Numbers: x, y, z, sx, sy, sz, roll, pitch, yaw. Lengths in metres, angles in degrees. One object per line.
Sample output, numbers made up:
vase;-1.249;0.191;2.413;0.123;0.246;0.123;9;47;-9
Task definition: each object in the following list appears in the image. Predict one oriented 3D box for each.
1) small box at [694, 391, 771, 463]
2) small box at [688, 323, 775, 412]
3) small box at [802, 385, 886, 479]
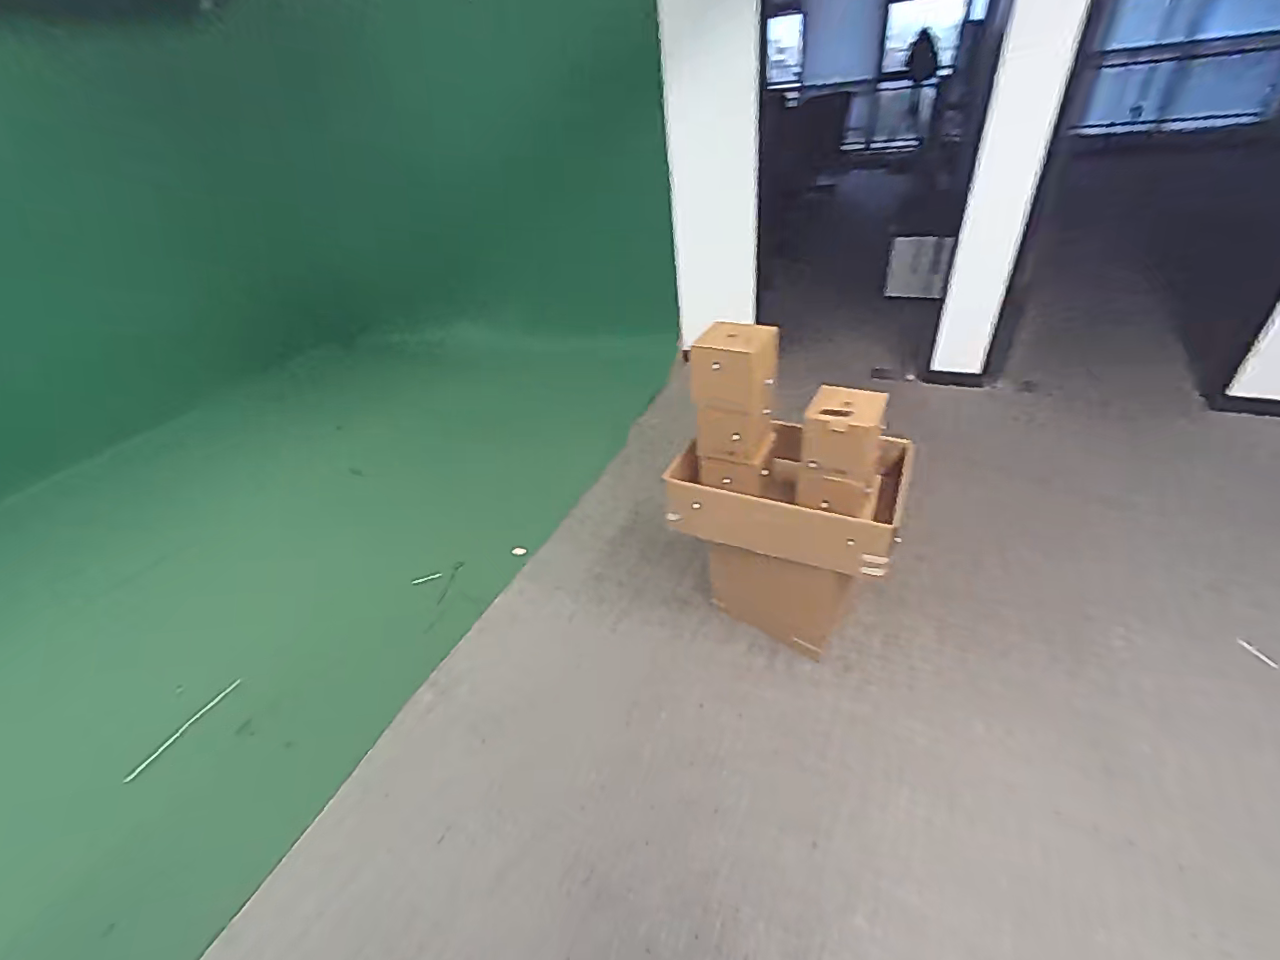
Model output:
small box;0.266;-0.168;1.516;0.168;0.176;0.179;12;41;25
small box;0.241;-0.295;1.413;0.179;0.176;0.168;15;43;28
small box;0.525;-0.125;1.402;0.168;0.176;0.179;14;41;27
